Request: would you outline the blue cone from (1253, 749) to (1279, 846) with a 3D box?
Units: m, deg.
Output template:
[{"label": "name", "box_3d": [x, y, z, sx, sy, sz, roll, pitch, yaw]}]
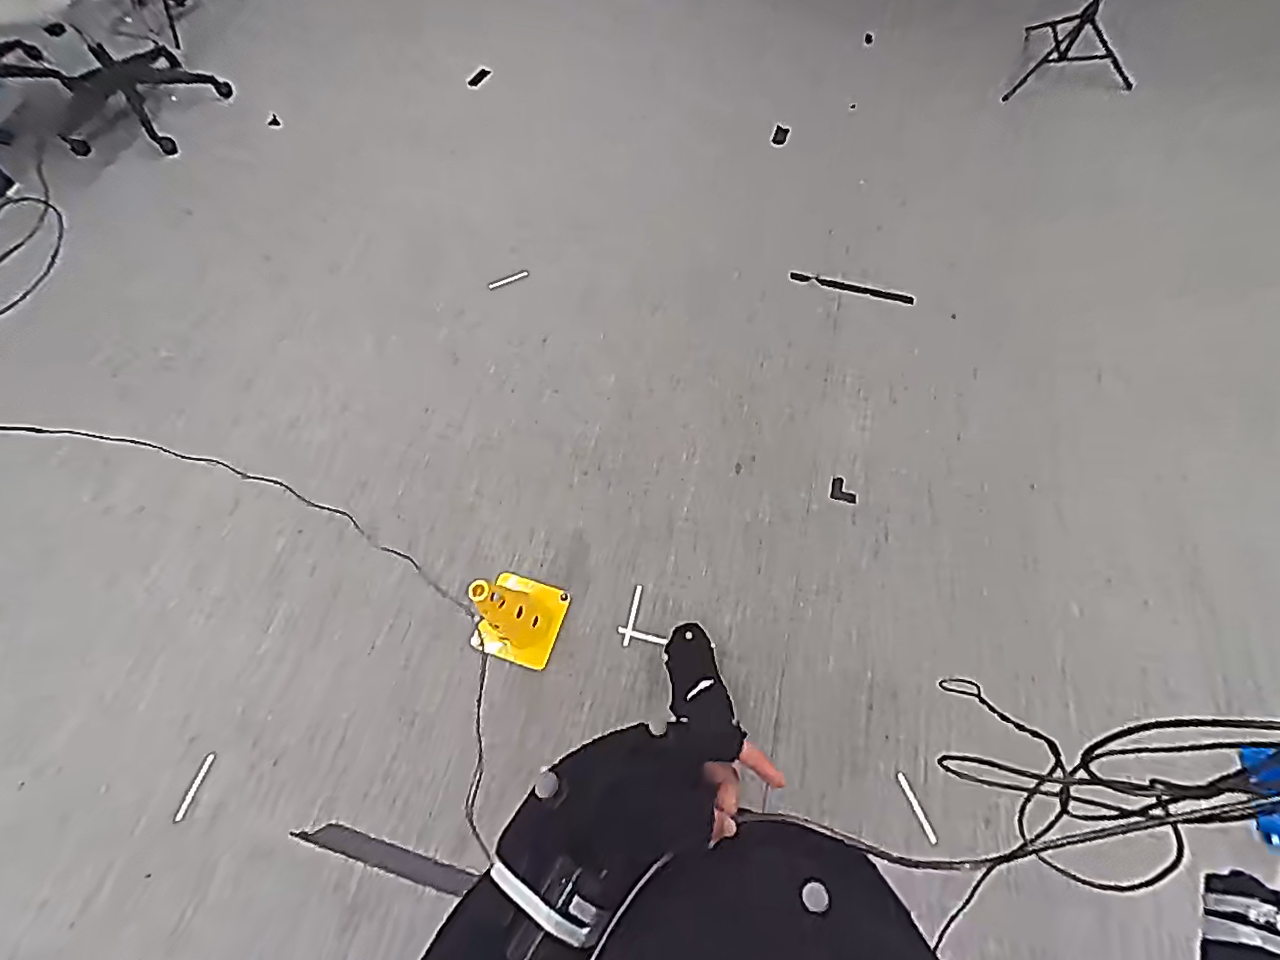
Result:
[{"label": "blue cone", "box_3d": [1.408, 0.618, 0.993, 0.193, 0.380, 0.192, 9, 67, 6]}]
